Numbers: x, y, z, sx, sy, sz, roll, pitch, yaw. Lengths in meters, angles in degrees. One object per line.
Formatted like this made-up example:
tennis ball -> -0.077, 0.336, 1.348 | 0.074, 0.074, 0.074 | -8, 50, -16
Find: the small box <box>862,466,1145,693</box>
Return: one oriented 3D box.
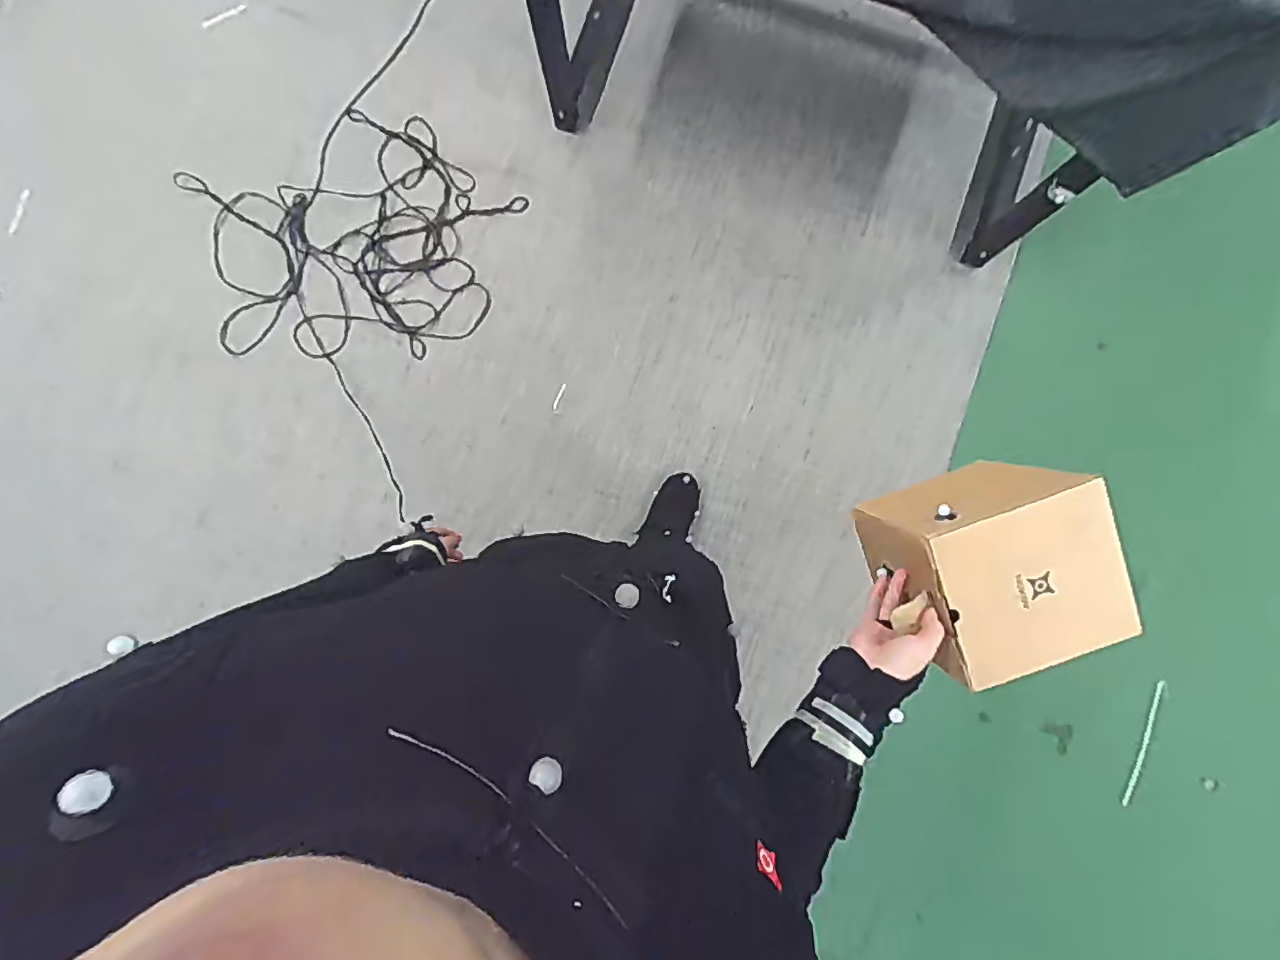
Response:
small box -> 0.377, 0.092, 0.590 | 0.179, 0.176, 0.168 | -20, 97, 2
